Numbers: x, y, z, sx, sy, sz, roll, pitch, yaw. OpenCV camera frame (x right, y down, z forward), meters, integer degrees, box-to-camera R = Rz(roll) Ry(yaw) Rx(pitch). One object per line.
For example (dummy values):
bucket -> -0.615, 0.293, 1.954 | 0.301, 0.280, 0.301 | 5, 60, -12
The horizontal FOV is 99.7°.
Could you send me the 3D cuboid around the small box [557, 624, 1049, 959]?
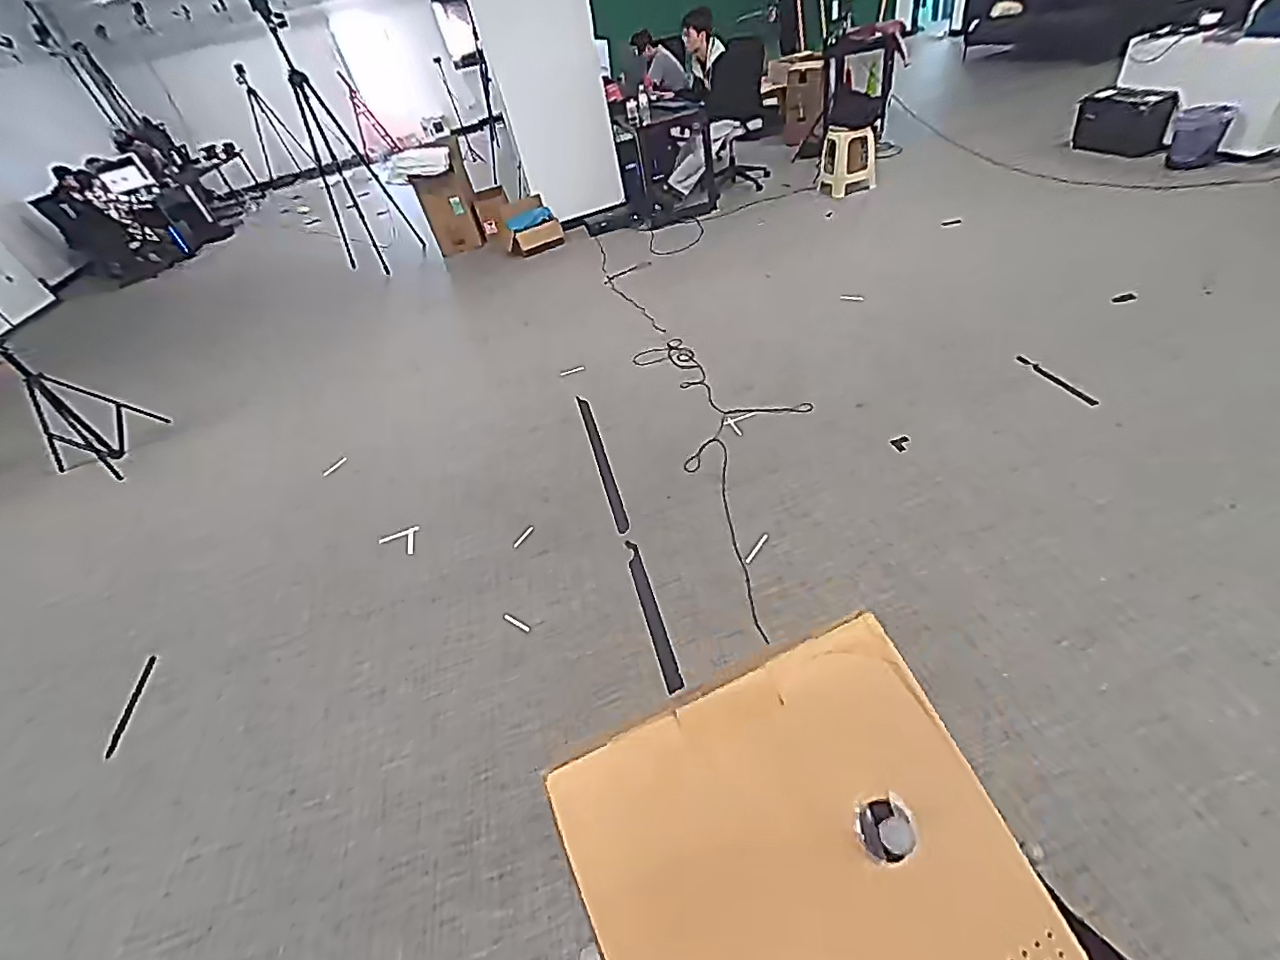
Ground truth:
small box -> 0.068, 0.203, 0.300 | 0.168, 0.179, 0.176 | -22, 69, -11
